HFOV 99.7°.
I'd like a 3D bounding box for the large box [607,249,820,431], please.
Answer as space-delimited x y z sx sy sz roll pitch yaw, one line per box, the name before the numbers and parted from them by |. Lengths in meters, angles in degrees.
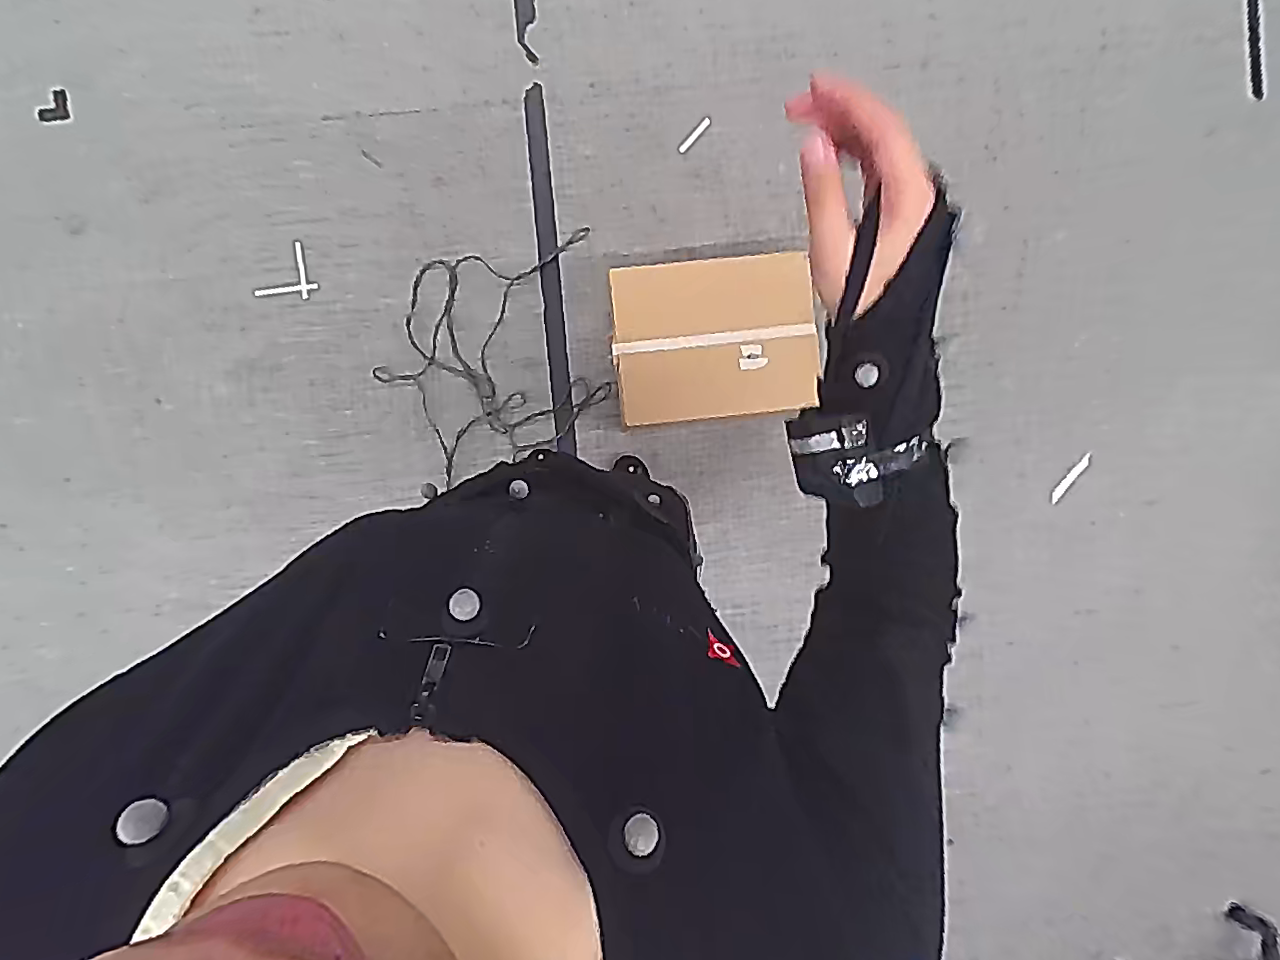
large box | 0.144 -0.293 1.230 0.408 0.320 0.320 -7 94 -3
